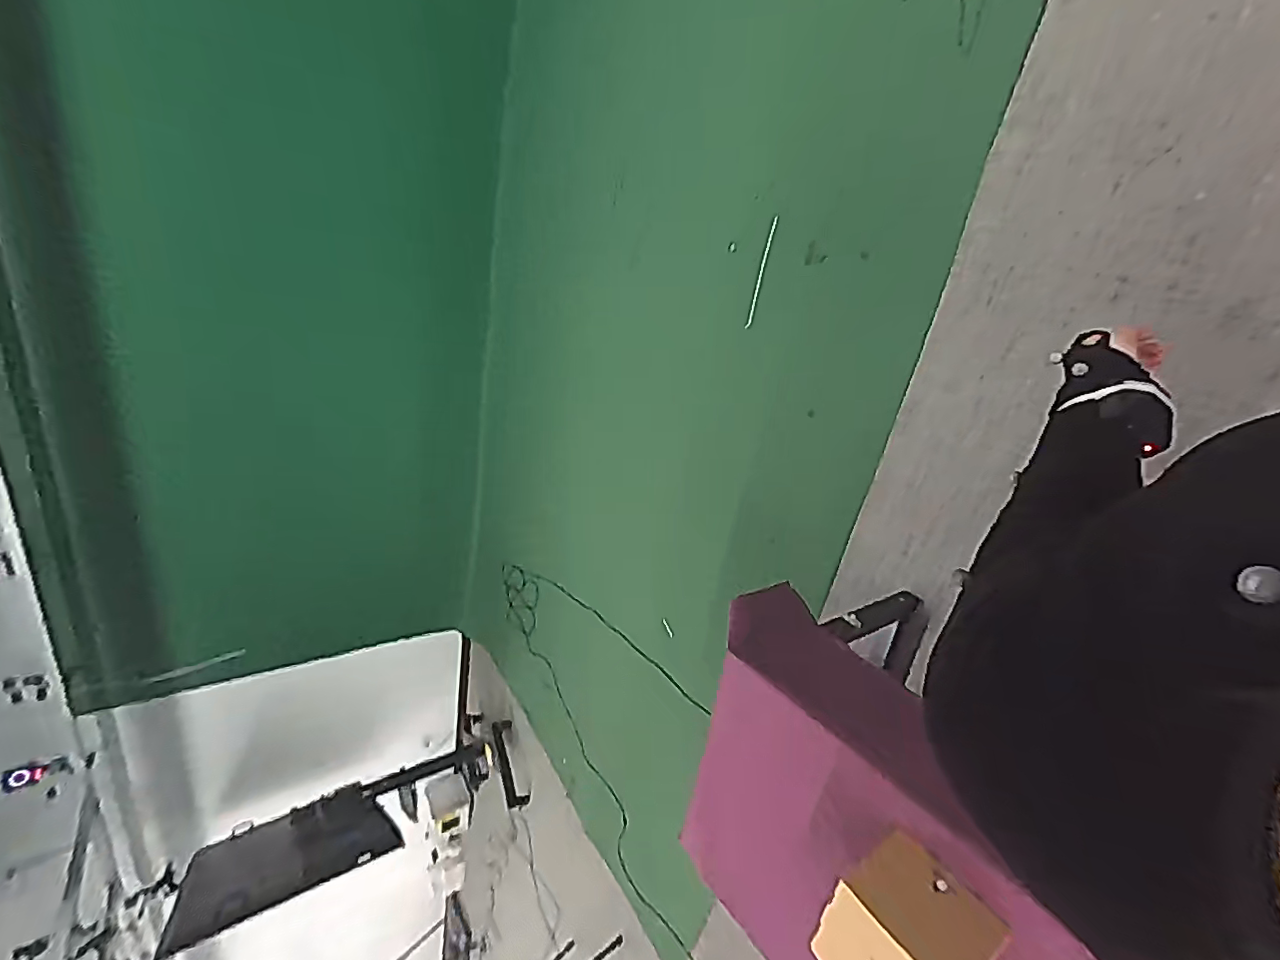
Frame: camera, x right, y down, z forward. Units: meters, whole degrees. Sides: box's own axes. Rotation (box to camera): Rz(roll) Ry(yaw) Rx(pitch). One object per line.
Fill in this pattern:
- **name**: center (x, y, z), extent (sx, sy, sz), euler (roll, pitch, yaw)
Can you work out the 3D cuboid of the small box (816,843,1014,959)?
- **small box**: center (0.399, 0.679, 0.796), extent (0.179, 0.176, 0.168), euler (34, 121, 47)
